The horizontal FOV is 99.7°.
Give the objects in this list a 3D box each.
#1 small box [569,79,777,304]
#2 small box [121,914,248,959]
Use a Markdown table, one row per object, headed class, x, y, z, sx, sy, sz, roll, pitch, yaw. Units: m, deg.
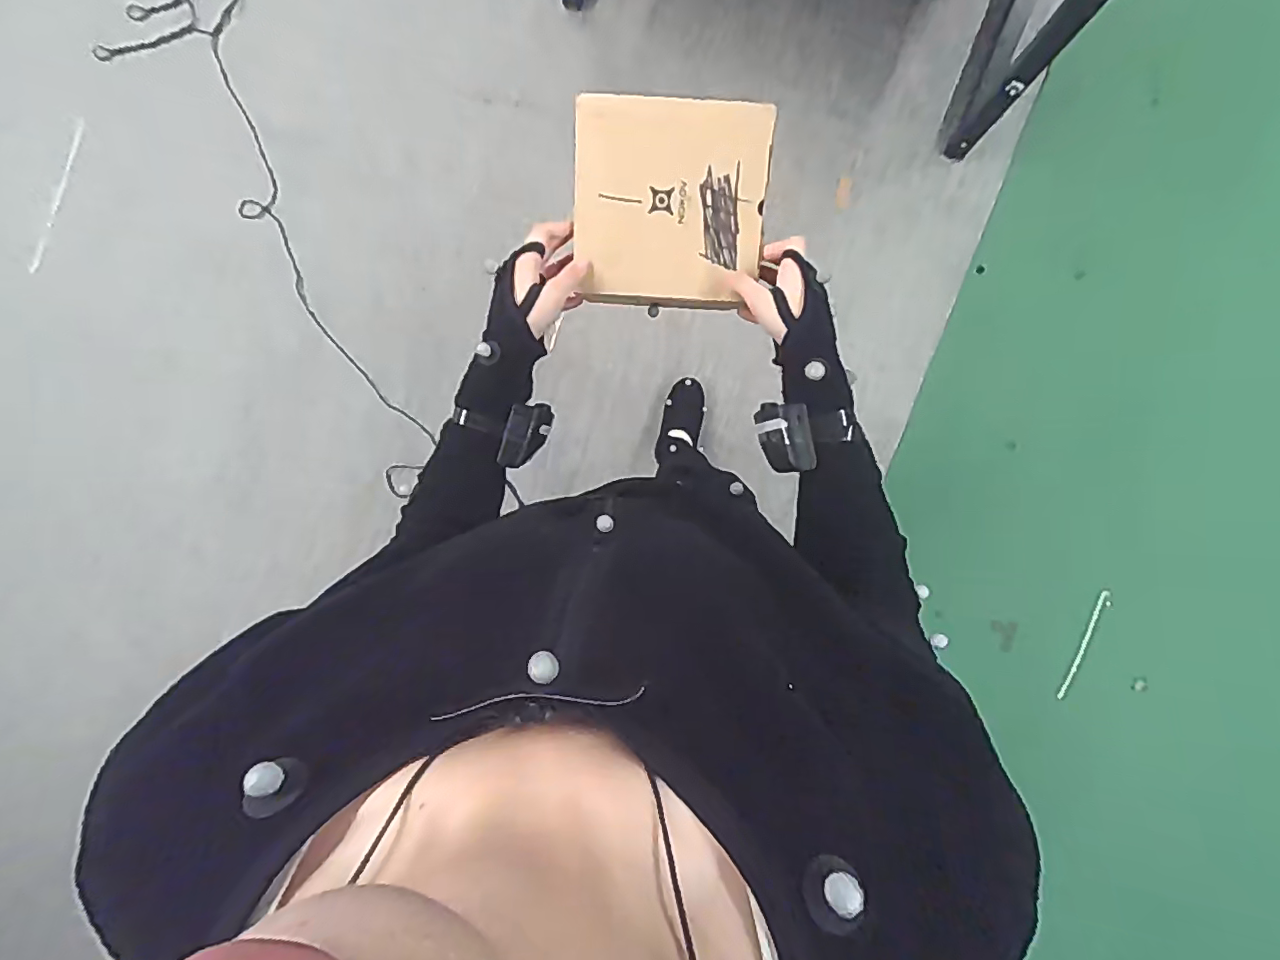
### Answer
| class | x | y | z | sx | sy | sz | roll | pitch | yaw |
| --- | --- | --- | --- | --- | --- | --- | --- | --- | --- |
| small box | 0.026 | -0.276 | 0.557 | 0.179 | 0.176 | 0.168 | 3 | 104 | -1 |
| small box | -0.790 | 0.874 | 0.875 | 0.168 | 0.176 | 0.179 | 25 | 91 | 1 |
